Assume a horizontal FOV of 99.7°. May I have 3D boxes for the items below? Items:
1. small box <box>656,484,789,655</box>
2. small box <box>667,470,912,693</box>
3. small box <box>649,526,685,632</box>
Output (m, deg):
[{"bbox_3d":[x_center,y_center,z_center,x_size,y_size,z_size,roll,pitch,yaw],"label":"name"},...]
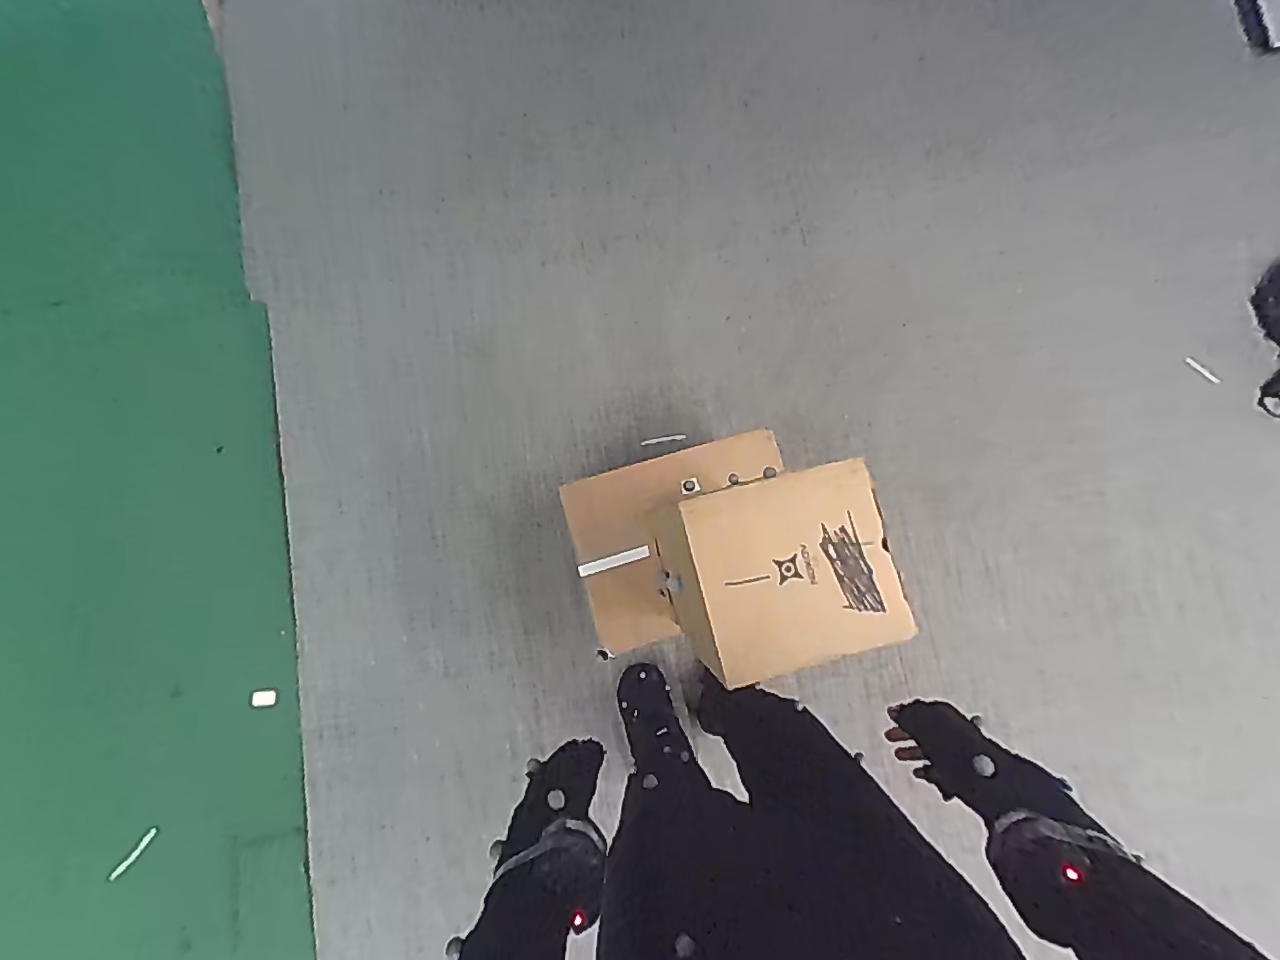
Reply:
[{"bbox_3d":[0.124,0.116,0.724,0.168,0.176,0.179,-15,83,-5],"label":"small box"},{"bbox_3d":[0.136,0.098,0.560,0.179,0.176,0.168,-14,81,-4],"label":"small box"},{"bbox_3d":[0.117,0.140,0.886,0.179,0.176,0.168,-14,82,-6],"label":"small box"}]
